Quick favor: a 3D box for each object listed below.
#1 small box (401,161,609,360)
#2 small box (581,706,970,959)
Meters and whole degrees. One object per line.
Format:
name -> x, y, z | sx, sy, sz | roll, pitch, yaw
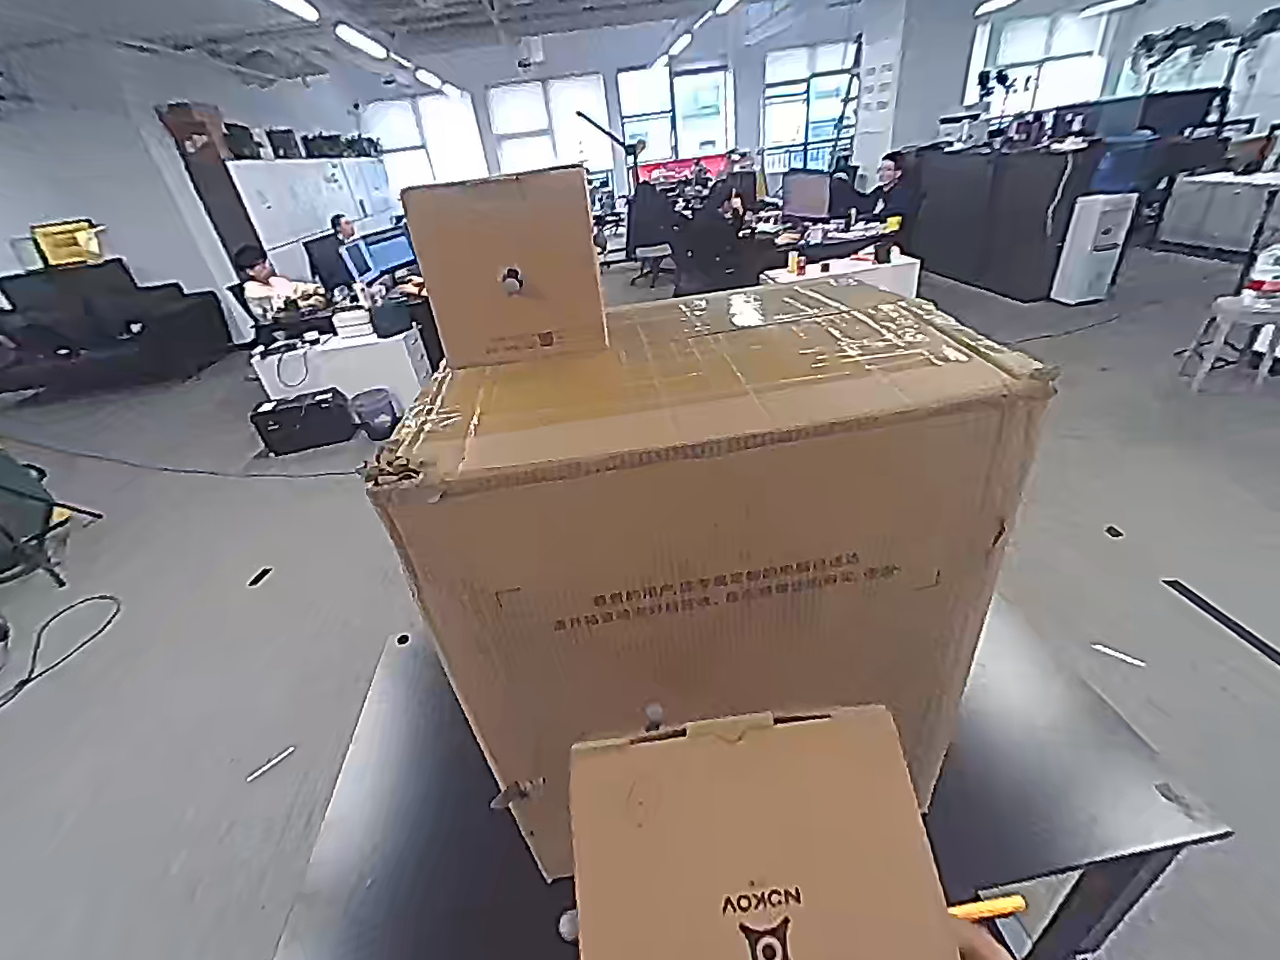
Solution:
small box -> -0.126, -0.234, 0.581 | 0.168, 0.176, 0.179 | -7, 30, -1
small box -> 0.060, 0.235, 0.307 | 0.168, 0.176, 0.179 | -7, 66, -1
